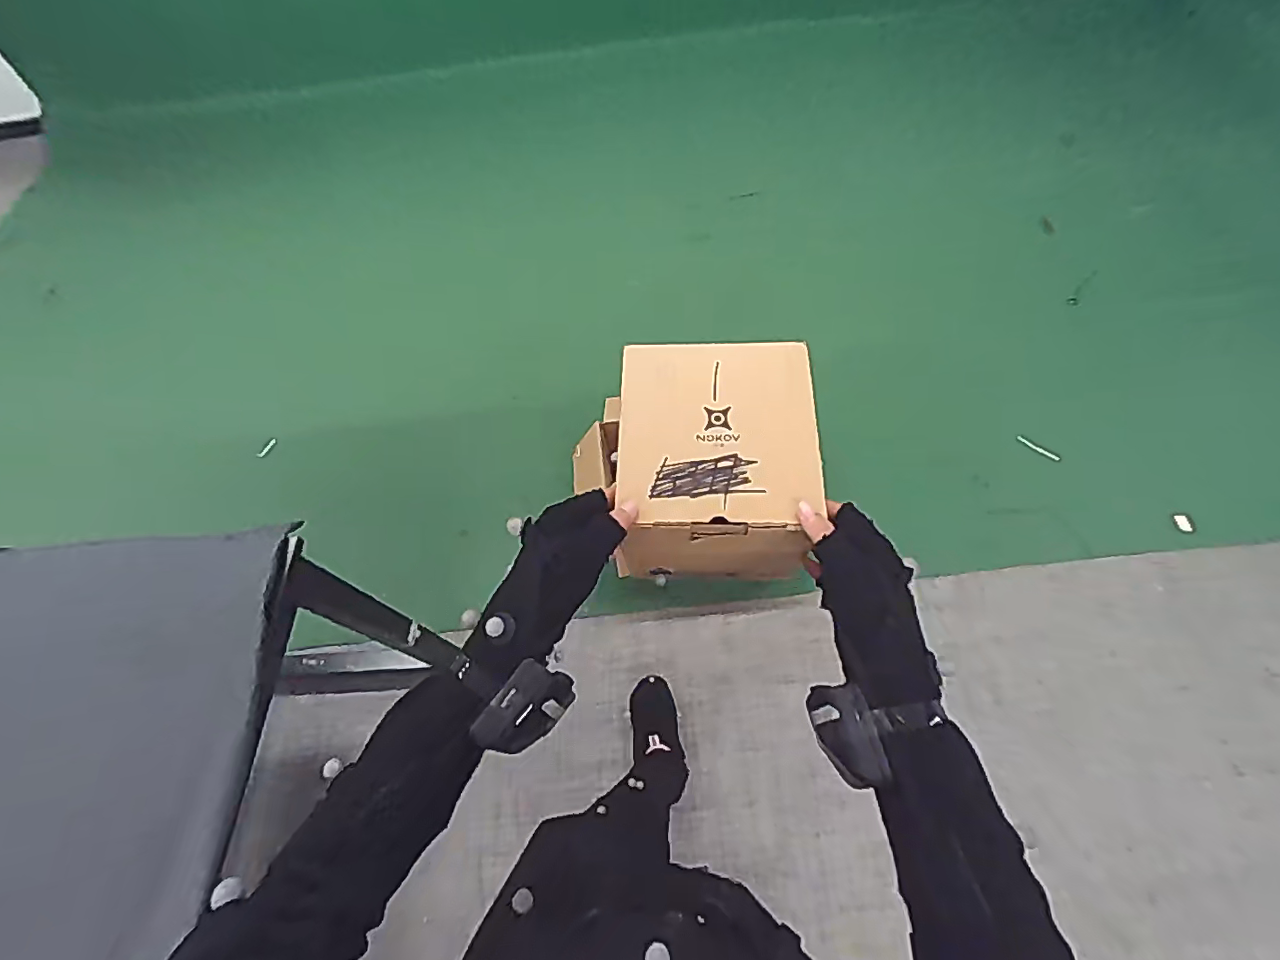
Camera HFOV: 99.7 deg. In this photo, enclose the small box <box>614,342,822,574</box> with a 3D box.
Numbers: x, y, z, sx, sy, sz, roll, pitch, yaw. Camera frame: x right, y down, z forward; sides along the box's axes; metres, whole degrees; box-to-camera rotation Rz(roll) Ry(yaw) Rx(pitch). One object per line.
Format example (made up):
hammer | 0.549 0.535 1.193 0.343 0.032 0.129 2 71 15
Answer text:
small box | 0.070 -0.011 0.528 0.168 0.176 0.179 0 65 4
